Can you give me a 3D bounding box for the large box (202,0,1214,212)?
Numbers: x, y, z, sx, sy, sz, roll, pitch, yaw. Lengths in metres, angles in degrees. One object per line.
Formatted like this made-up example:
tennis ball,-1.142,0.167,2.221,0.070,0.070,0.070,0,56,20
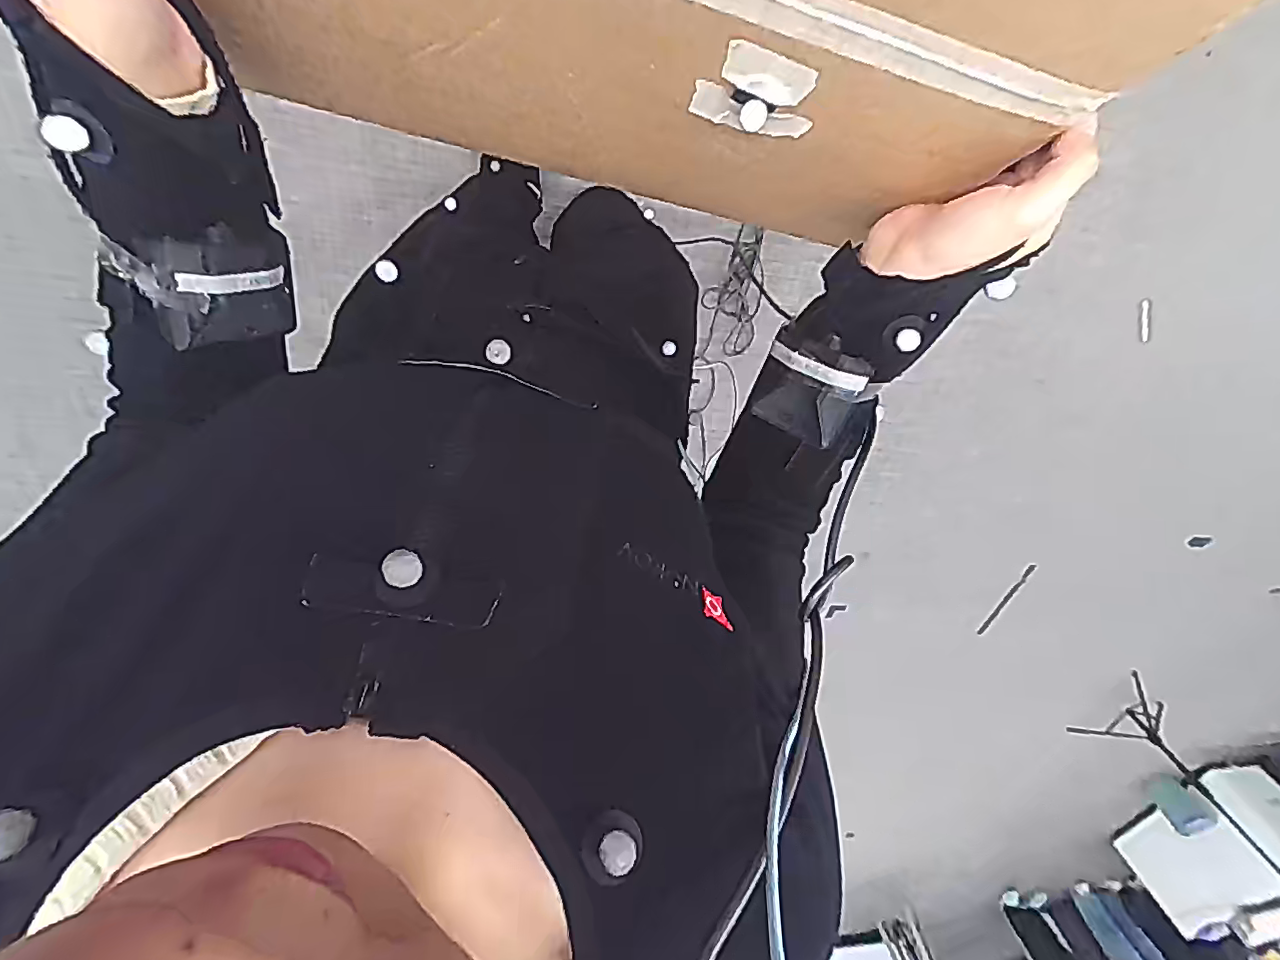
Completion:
large box,0.030,-0.350,0.174,0.408,0.320,0.320,7,89,-12
